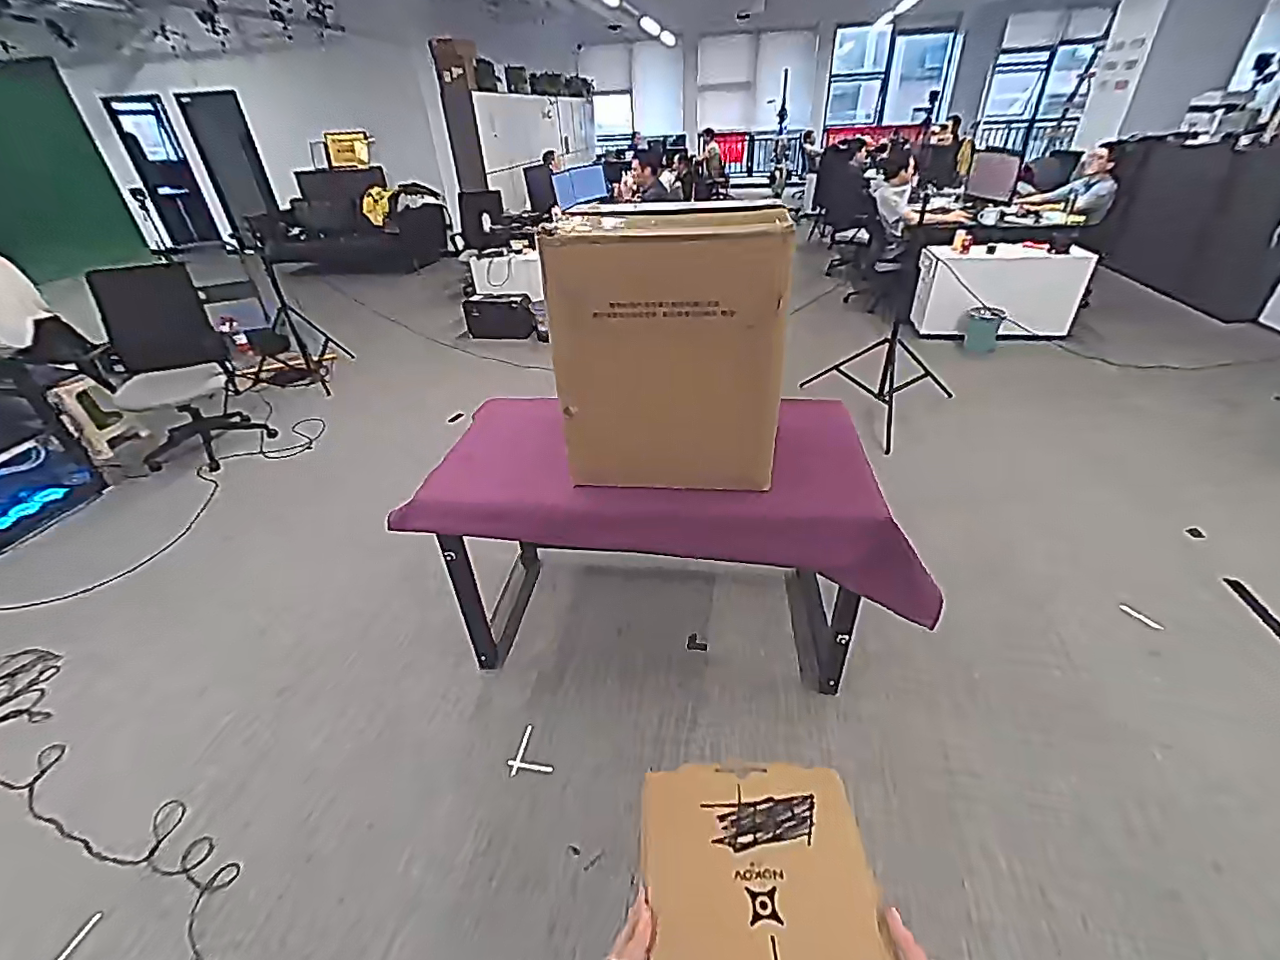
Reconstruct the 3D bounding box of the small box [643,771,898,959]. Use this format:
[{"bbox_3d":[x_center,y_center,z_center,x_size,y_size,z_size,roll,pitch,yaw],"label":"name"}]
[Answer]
[{"bbox_3d":[0.087,0.364,0.429,0.168,0.176,0.179,-2,32,-1],"label":"small box"}]
